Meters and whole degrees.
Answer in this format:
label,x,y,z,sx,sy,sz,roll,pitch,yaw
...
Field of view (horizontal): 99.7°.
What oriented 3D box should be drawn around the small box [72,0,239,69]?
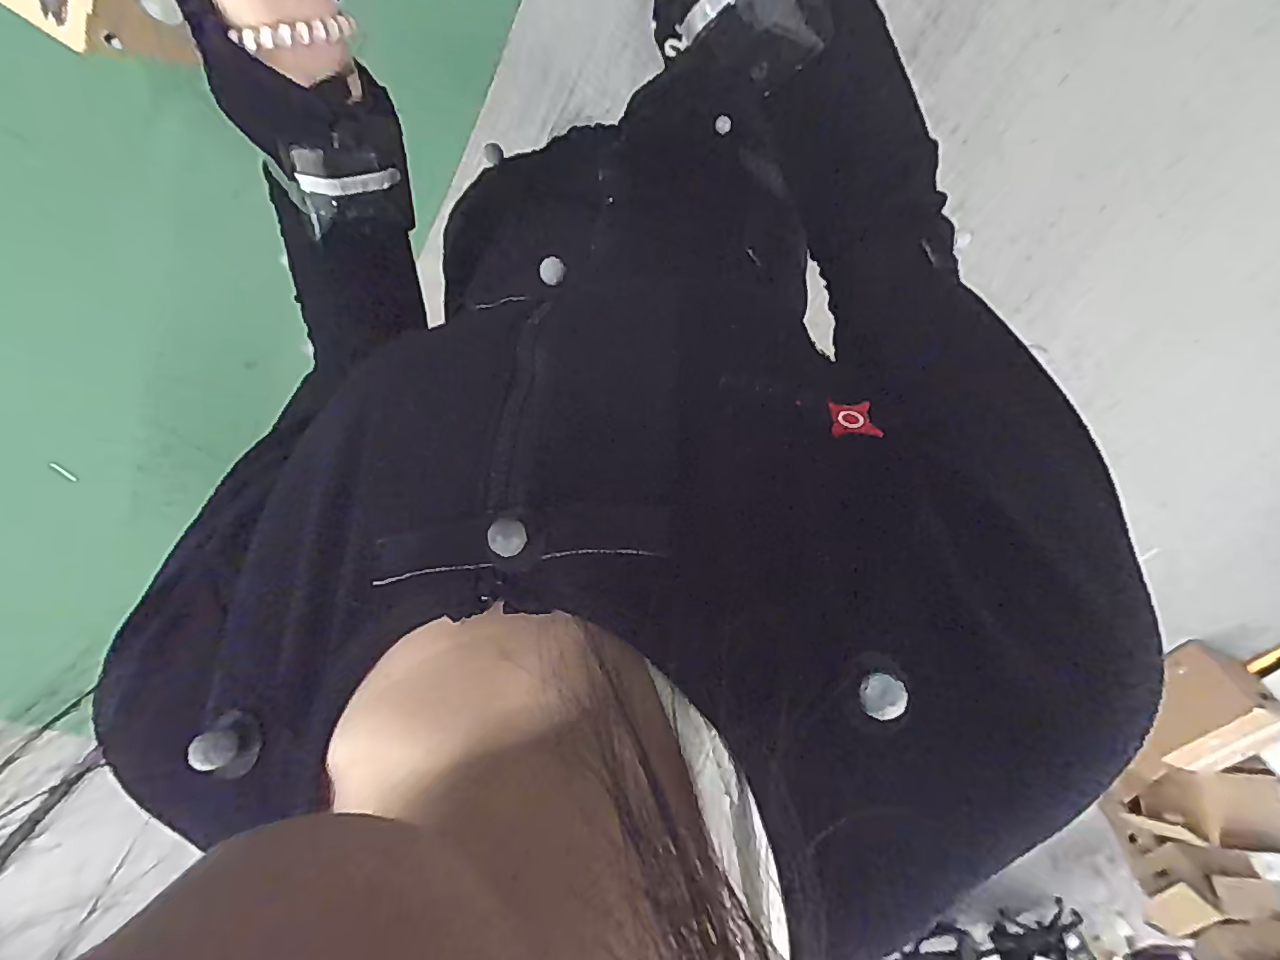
label,x,y,z,sx,sy,sz,roll,pitch,yaw
small box,-0.863,-0.880,0.963,0.179,0.176,0.168,32,119,-22
